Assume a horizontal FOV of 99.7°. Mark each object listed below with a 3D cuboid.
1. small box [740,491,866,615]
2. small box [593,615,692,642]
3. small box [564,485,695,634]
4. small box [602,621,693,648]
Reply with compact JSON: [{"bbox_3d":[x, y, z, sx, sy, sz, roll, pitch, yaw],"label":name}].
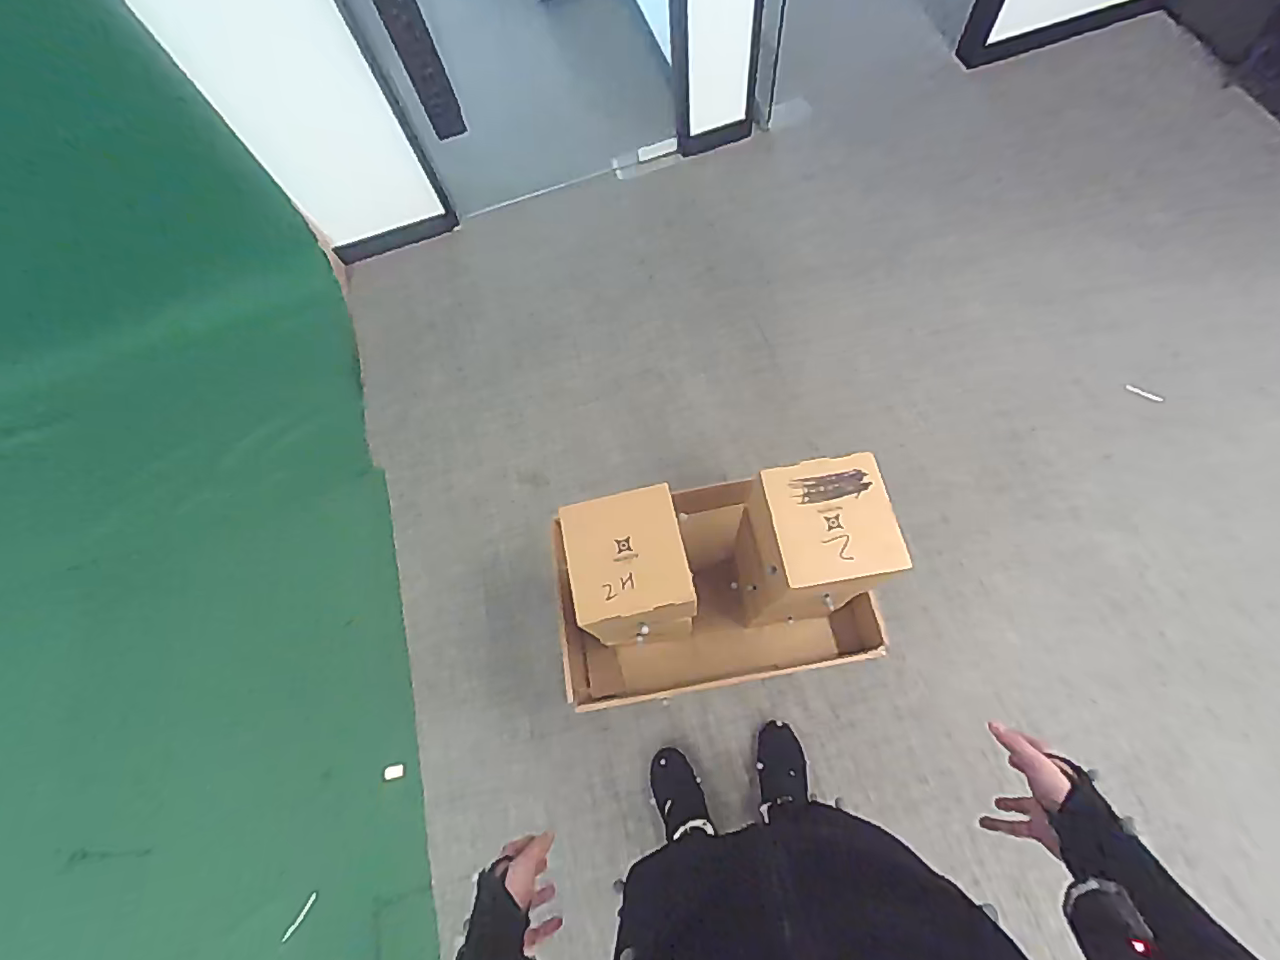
[{"bbox_3d":[0.280,0.140,0.968,0.168,0.176,0.179,-9,66,2],"label":"small box"},{"bbox_3d":[0.001,0.189,0.984,0.168,0.176,0.179,-9,68,3],"label":"small box"},{"bbox_3d":[-0.013,0.129,0.832,0.168,0.176,0.179,-11,68,2],"label":"small box"},{"bbox_3d":[0.015,0.253,1.134,0.179,0.176,0.168,-8,68,3],"label":"small box"}]
